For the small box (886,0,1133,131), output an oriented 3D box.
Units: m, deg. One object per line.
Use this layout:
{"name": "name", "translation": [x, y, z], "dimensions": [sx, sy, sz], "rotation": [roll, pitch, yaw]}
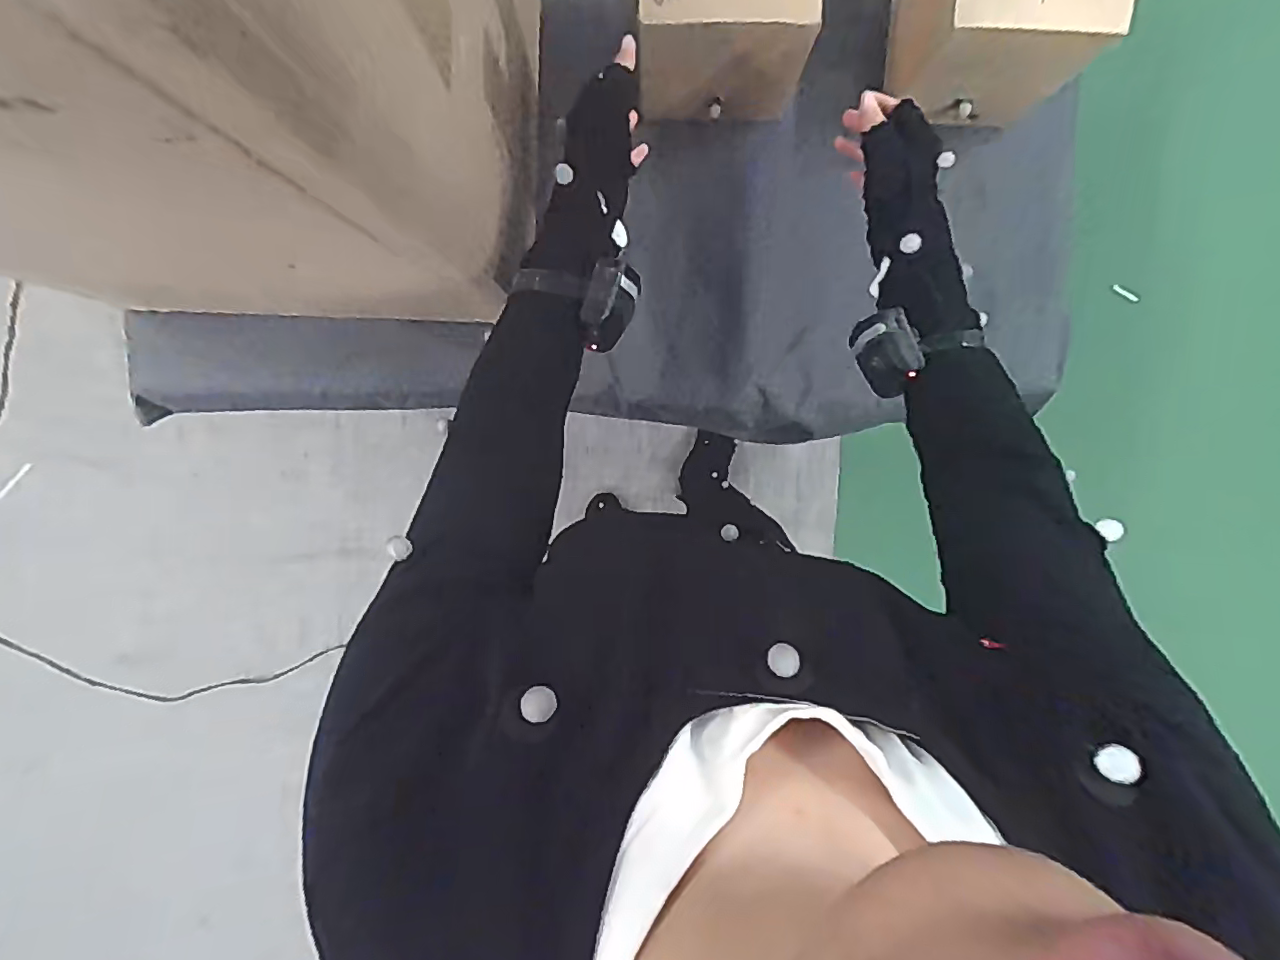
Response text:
{"name": "small box", "translation": [0.386, -0.518, 0.583], "dimensions": [0.168, 0.176, 0.179], "rotation": [3, 97, 1]}
